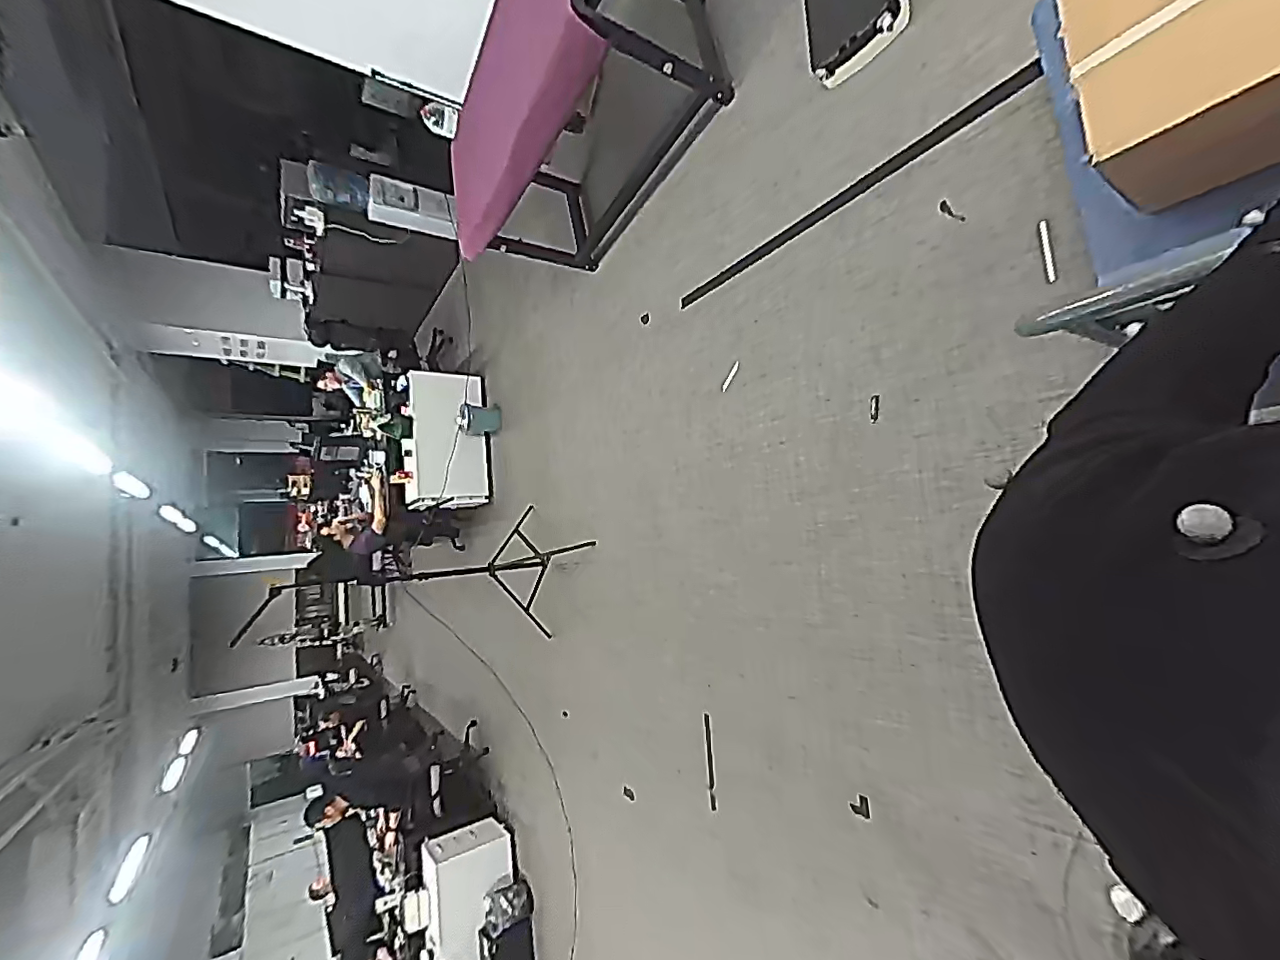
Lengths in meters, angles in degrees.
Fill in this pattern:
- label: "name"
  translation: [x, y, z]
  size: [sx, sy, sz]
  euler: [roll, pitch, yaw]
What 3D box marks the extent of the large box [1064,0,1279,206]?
- label: "large box"
  translation: [0.940, -0.684, 0.785]
  size: [0.408, 0.320, 0.320]
  euler: [-16, 77, 55]
